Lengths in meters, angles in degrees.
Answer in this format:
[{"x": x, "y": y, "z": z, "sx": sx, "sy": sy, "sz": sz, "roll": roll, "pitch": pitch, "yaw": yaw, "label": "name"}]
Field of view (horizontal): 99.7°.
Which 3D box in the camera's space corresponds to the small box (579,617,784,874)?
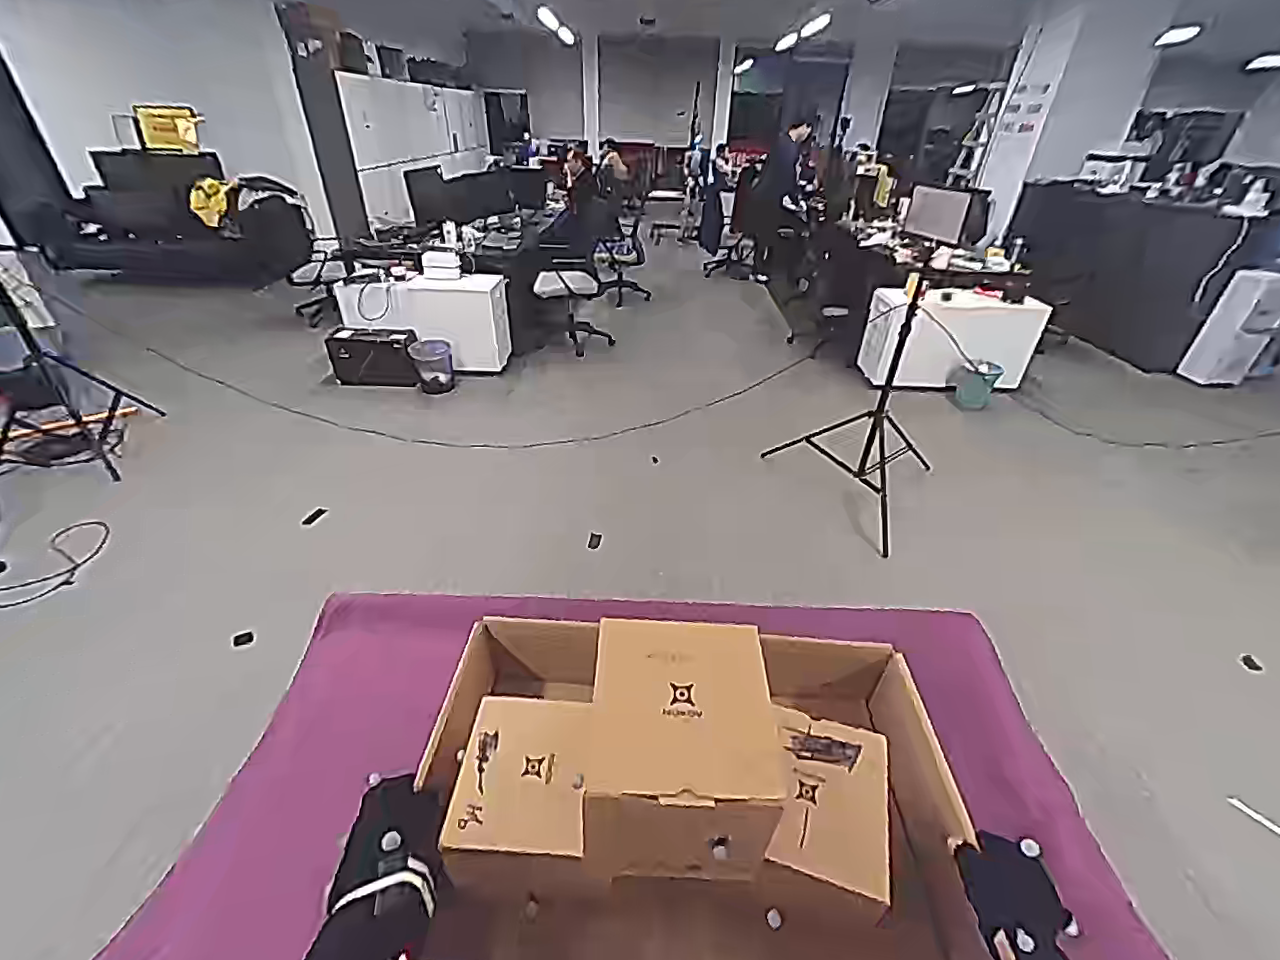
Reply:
[{"x": 0.032, "y": 0.262, "z": 0.537, "sx": 0.168, "sy": 0.176, "sz": 0.179, "roll": 3, "pitch": 35, "yaw": -1, "label": "small box"}]
